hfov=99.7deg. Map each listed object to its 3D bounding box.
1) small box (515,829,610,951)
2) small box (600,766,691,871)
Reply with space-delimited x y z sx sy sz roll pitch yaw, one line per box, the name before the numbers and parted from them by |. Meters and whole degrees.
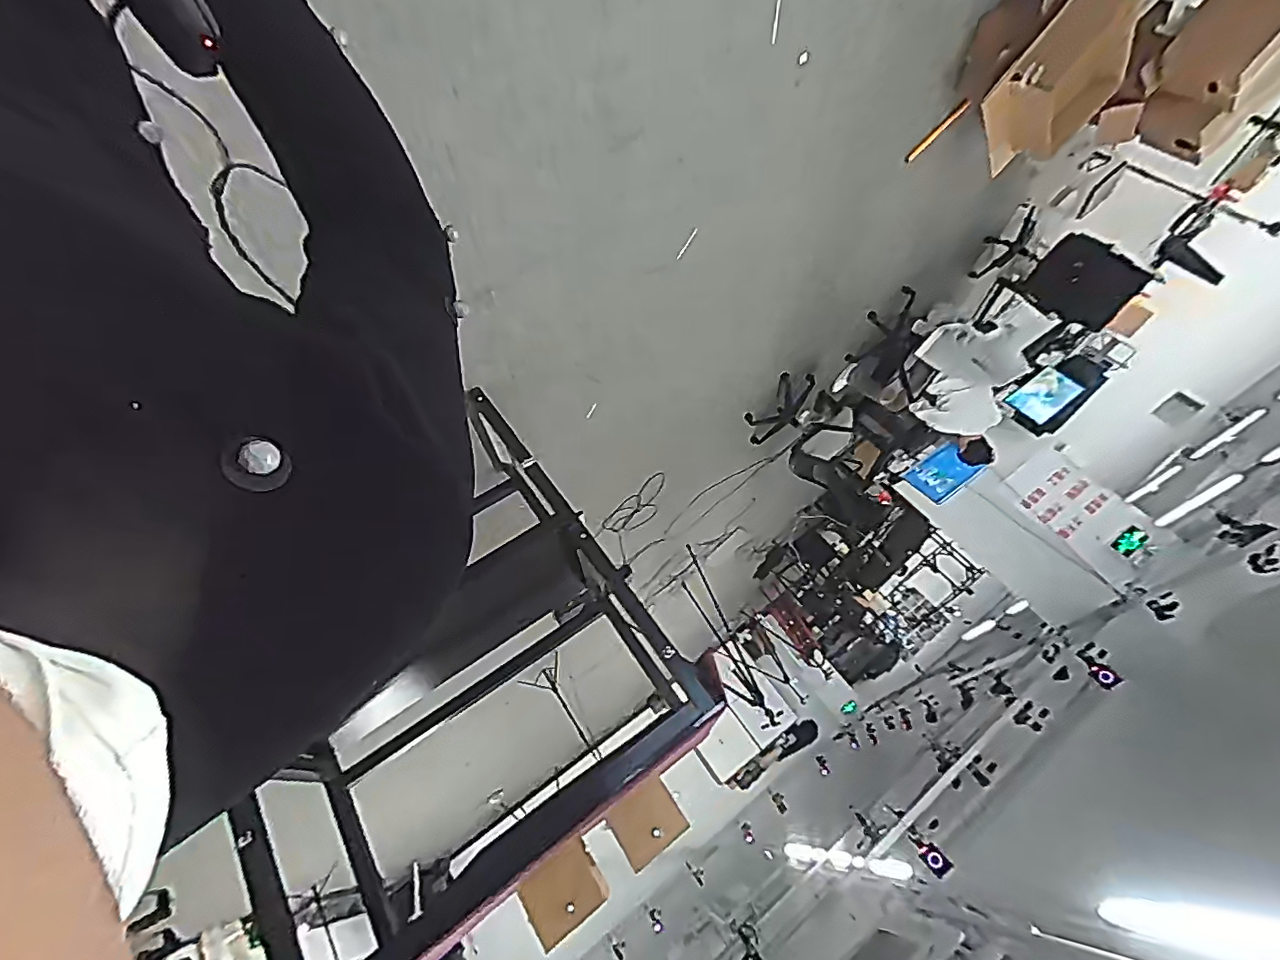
small box | -0.195 1.016 1.357 0.179 0.176 0.168 -33 154 -17
small box | 0.010 0.889 1.433 0.179 0.176 0.168 -30 152 -19
